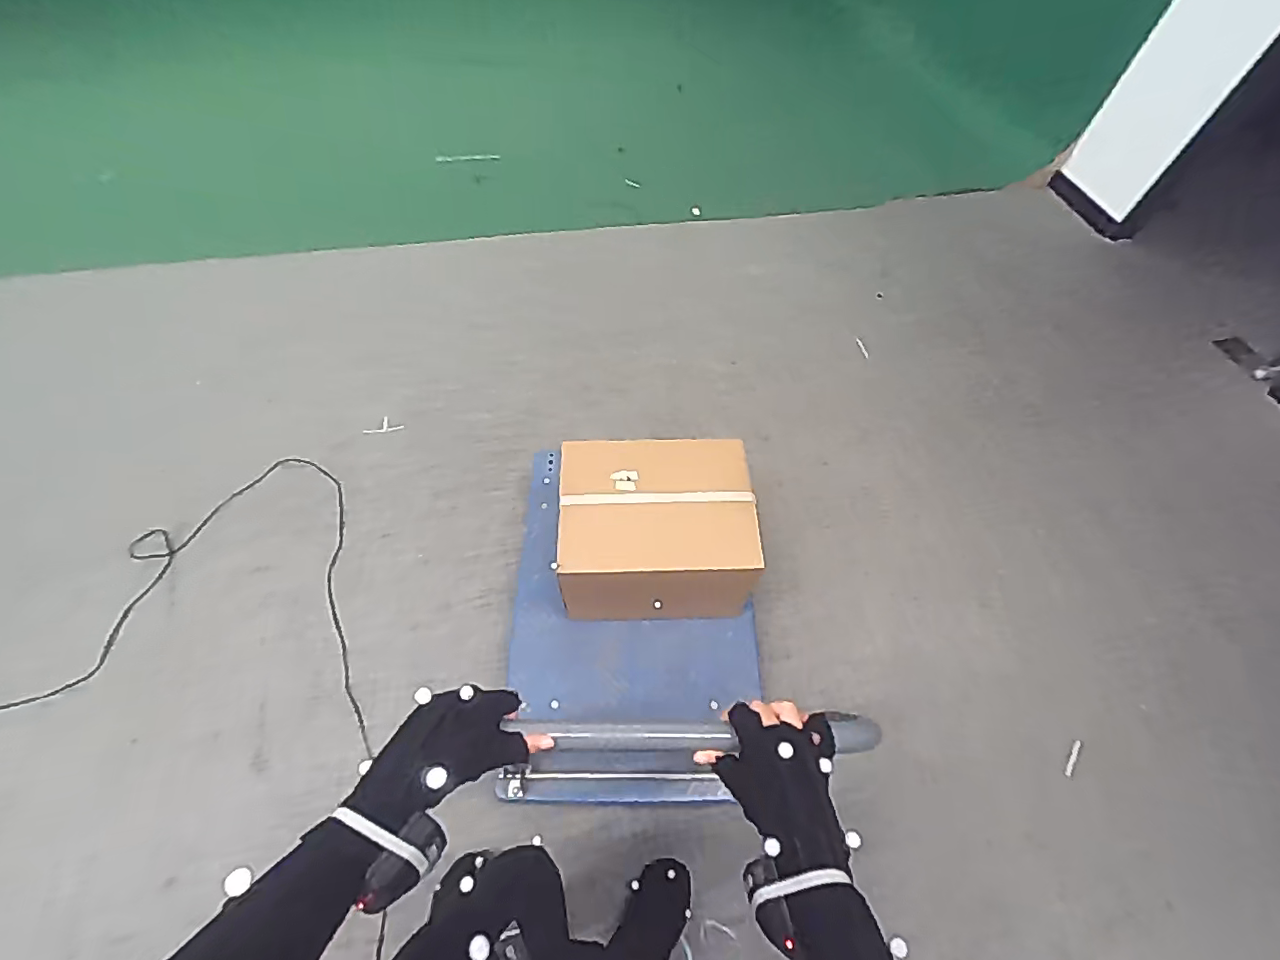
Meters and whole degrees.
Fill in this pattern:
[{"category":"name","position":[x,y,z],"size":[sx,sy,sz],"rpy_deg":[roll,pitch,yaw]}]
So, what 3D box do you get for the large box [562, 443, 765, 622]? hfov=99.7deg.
[{"category":"large box","position":[0.039,0.131,1.255],"size":[0.408,0.320,0.320],"rpy_deg":[-1,57,-2]}]
